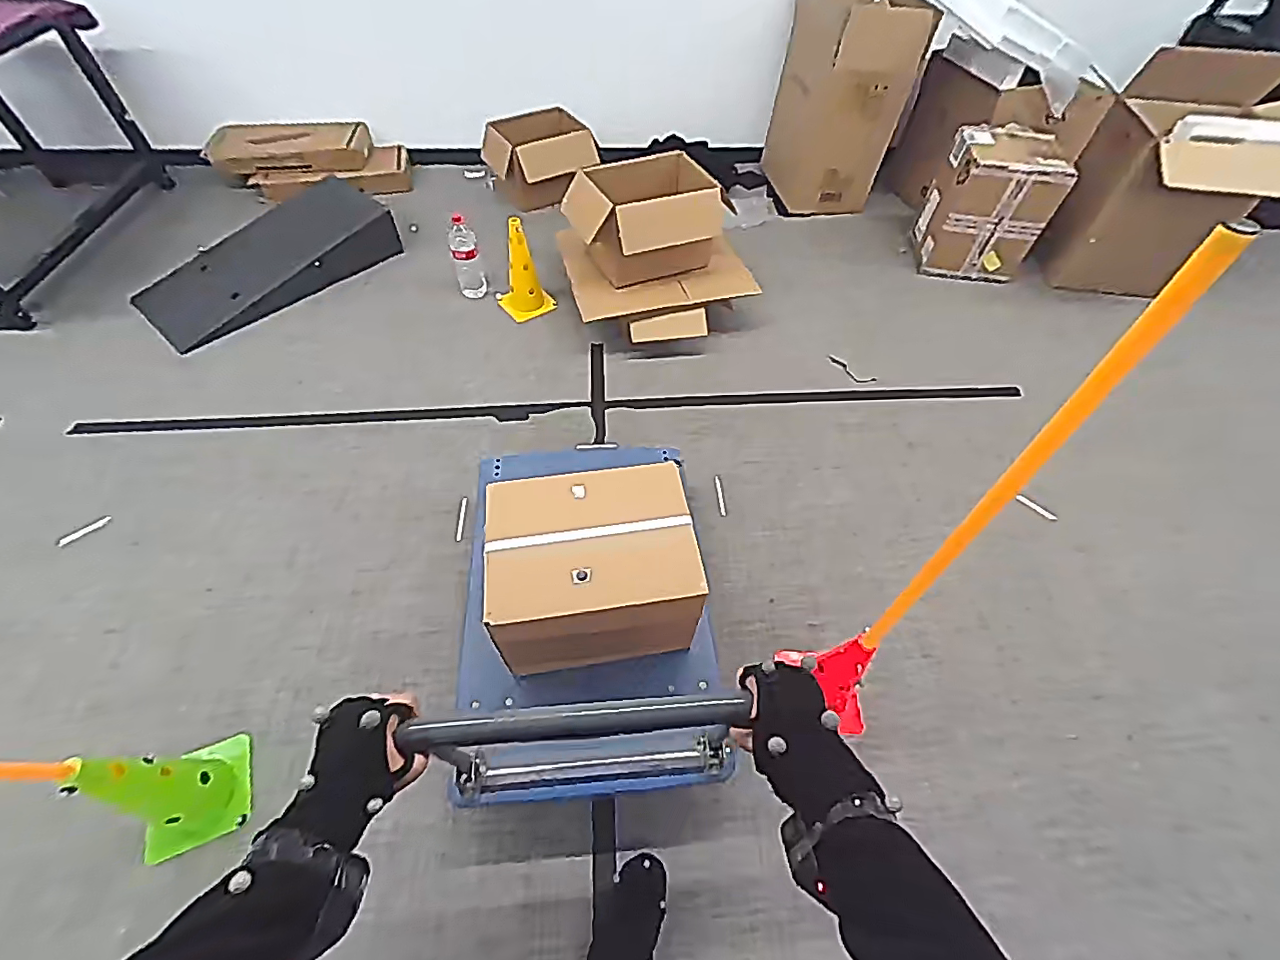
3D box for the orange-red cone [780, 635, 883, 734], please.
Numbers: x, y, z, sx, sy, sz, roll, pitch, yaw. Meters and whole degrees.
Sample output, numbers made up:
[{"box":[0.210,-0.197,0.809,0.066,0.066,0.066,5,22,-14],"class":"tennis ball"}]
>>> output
[{"box":[0.460,0.425,1.212,0.199,0.360,0.198,4,54,-1],"class":"orange-red cone"}]
